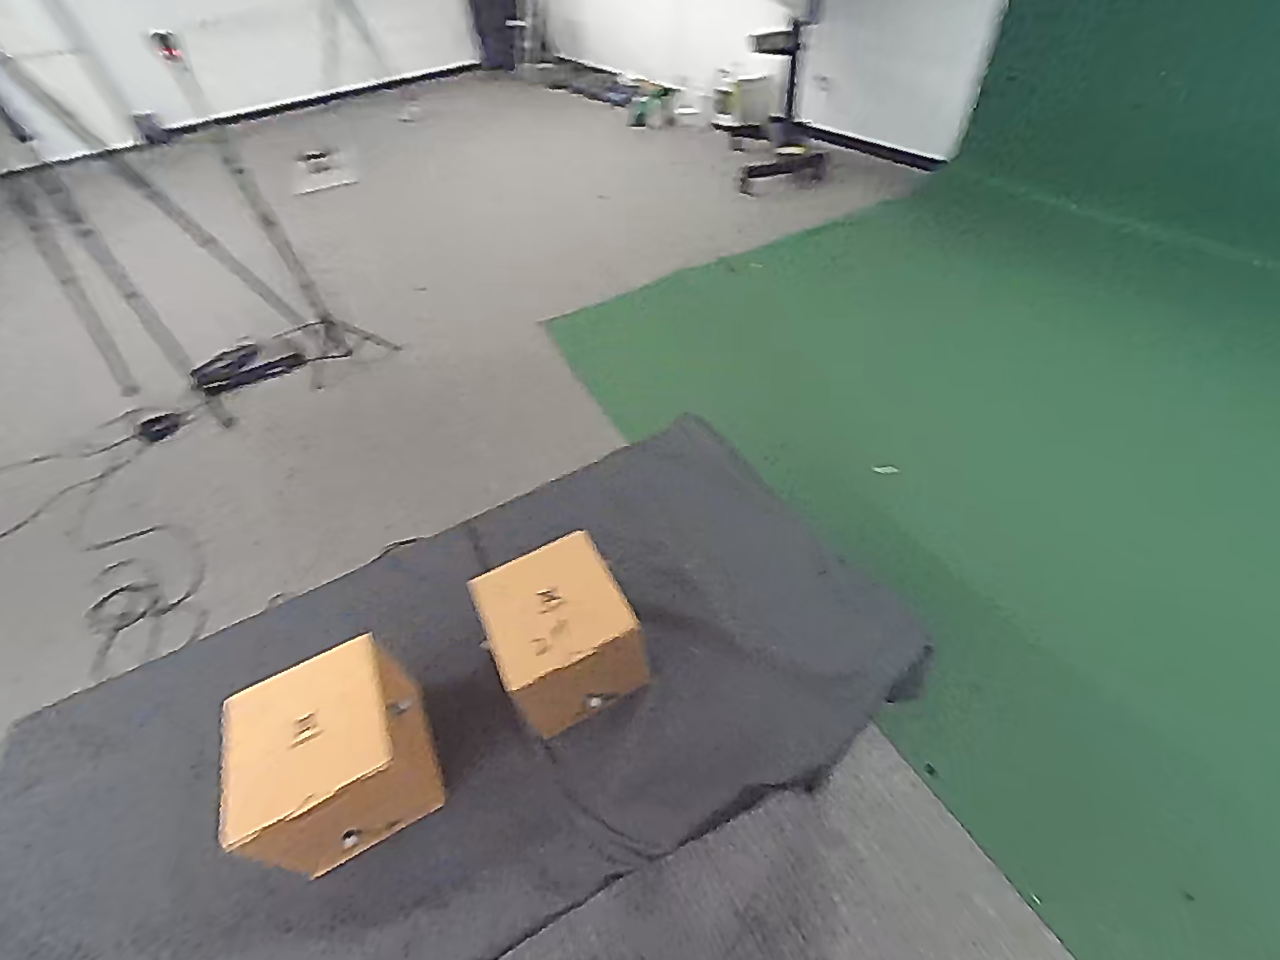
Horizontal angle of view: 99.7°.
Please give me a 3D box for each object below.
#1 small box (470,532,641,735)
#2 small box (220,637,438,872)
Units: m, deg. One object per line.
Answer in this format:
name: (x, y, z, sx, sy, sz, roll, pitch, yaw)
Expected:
small box: (-0.111, 0.210, 0.741, 0.168, 0.176, 0.179, -24, 49, -15)
small box: (-0.369, 0.333, 0.658, 0.168, 0.176, 0.179, -24, 50, -16)
